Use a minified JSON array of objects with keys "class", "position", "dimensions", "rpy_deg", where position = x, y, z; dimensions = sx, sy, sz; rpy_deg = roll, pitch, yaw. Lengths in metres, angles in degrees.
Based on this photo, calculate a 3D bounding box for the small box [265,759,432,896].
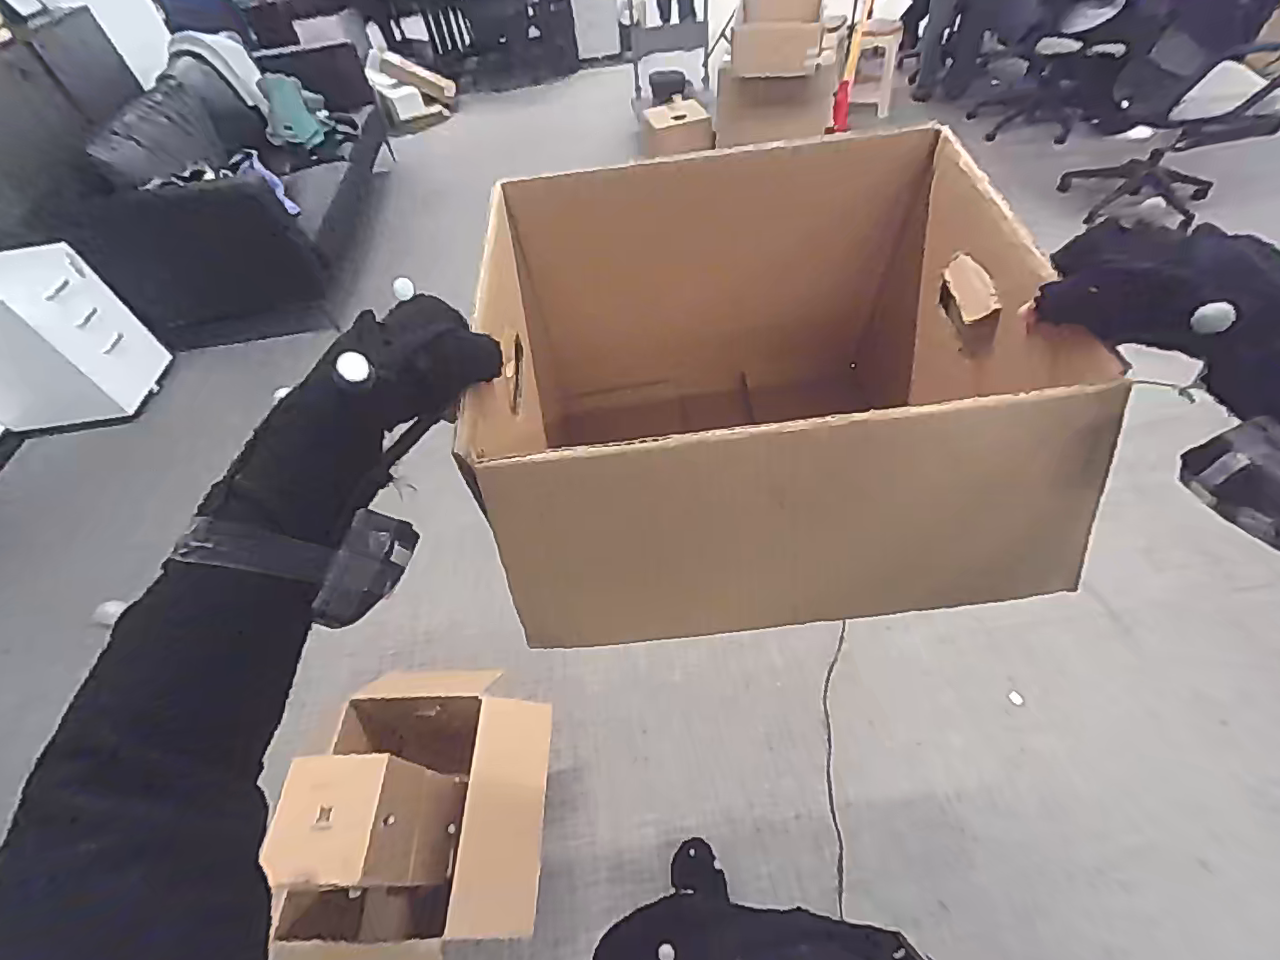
[{"class":"small box","position":[-0.469,0.581,0.905],"dimensions":[0.168,0.176,0.179],"rpy_deg":[-5,53,2]}]
